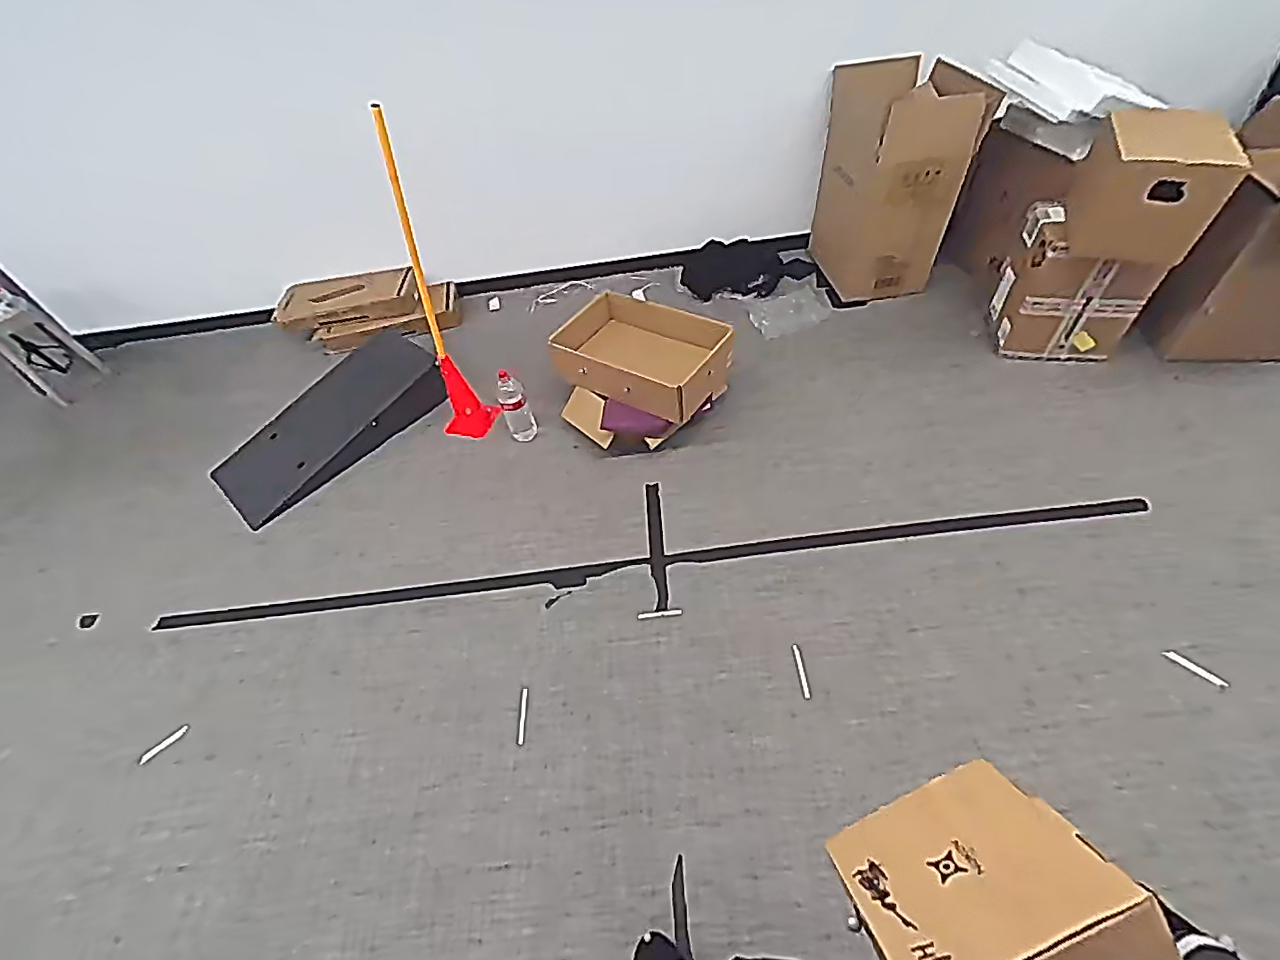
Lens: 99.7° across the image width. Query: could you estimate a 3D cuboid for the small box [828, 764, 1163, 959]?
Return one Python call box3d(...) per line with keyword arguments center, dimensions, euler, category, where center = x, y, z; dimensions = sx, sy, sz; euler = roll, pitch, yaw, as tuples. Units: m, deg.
box3d(center=(0.296, 0.389, 0.451), dimensions=(0.179, 0.168, 0.176), euler=(-26, 93, -1), category="small box")
